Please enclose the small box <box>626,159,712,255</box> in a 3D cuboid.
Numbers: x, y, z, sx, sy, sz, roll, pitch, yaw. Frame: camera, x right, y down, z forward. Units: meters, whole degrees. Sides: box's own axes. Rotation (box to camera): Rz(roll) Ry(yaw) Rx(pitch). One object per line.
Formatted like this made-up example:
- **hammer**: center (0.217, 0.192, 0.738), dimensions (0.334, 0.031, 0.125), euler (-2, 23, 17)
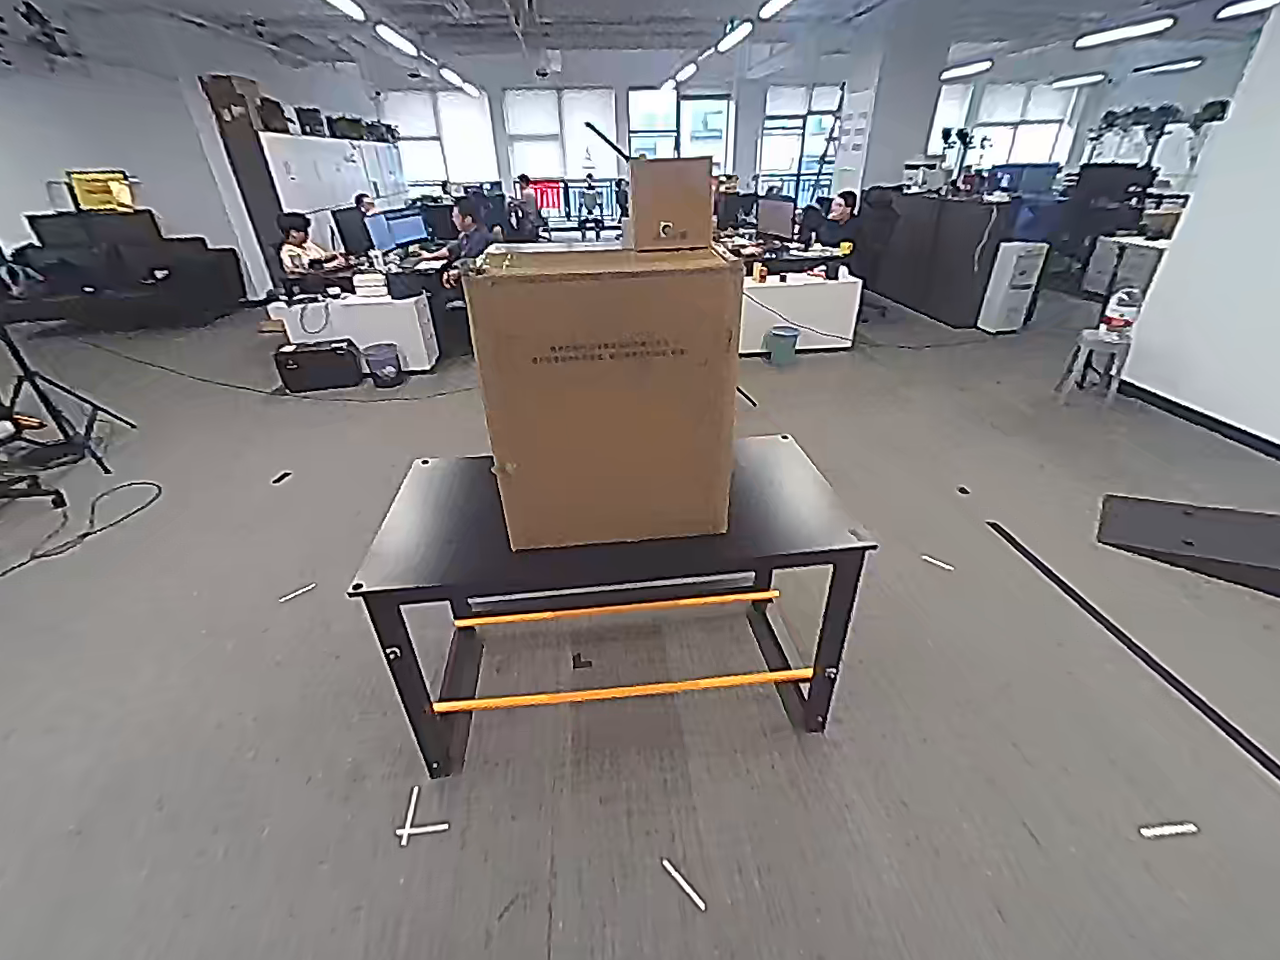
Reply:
- **small box**: center (0.059, -0.584, 1.160), dimensions (0.168, 0.176, 0.179), euler (-6, 30, -1)
